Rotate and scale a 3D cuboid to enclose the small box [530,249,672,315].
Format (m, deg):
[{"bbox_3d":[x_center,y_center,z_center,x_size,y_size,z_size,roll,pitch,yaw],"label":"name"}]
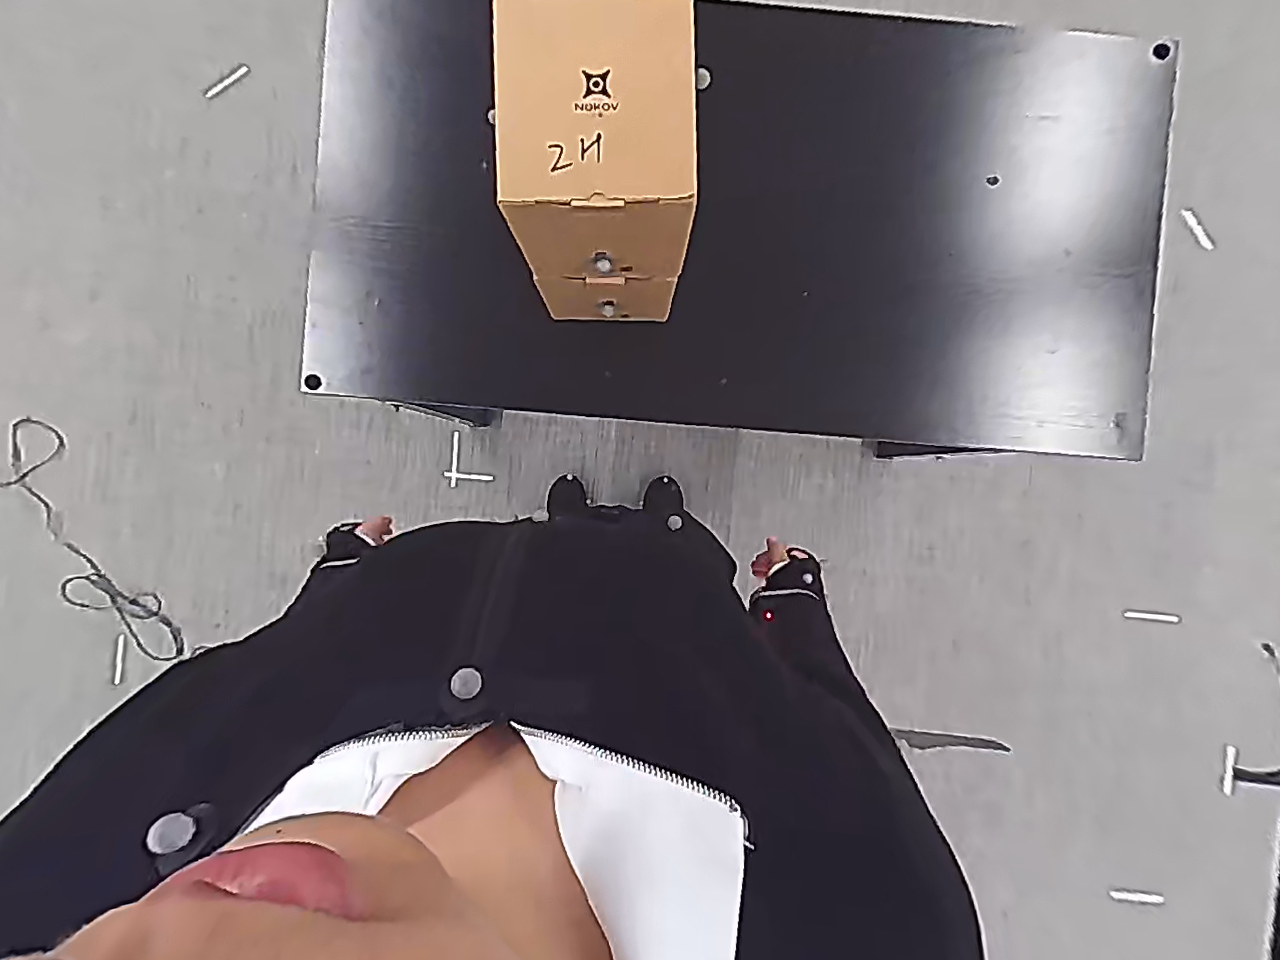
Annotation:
[{"bbox_3d":[-0.041,-0.318,0.692,0.168,0.176,0.179,1,91,0],"label":"small box"}]

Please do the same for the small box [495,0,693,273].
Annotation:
[{"bbox_3d":[-0.039,-0.321,0.526,0.168,0.176,0.179,-1,90,0],"label":"small box"}]
